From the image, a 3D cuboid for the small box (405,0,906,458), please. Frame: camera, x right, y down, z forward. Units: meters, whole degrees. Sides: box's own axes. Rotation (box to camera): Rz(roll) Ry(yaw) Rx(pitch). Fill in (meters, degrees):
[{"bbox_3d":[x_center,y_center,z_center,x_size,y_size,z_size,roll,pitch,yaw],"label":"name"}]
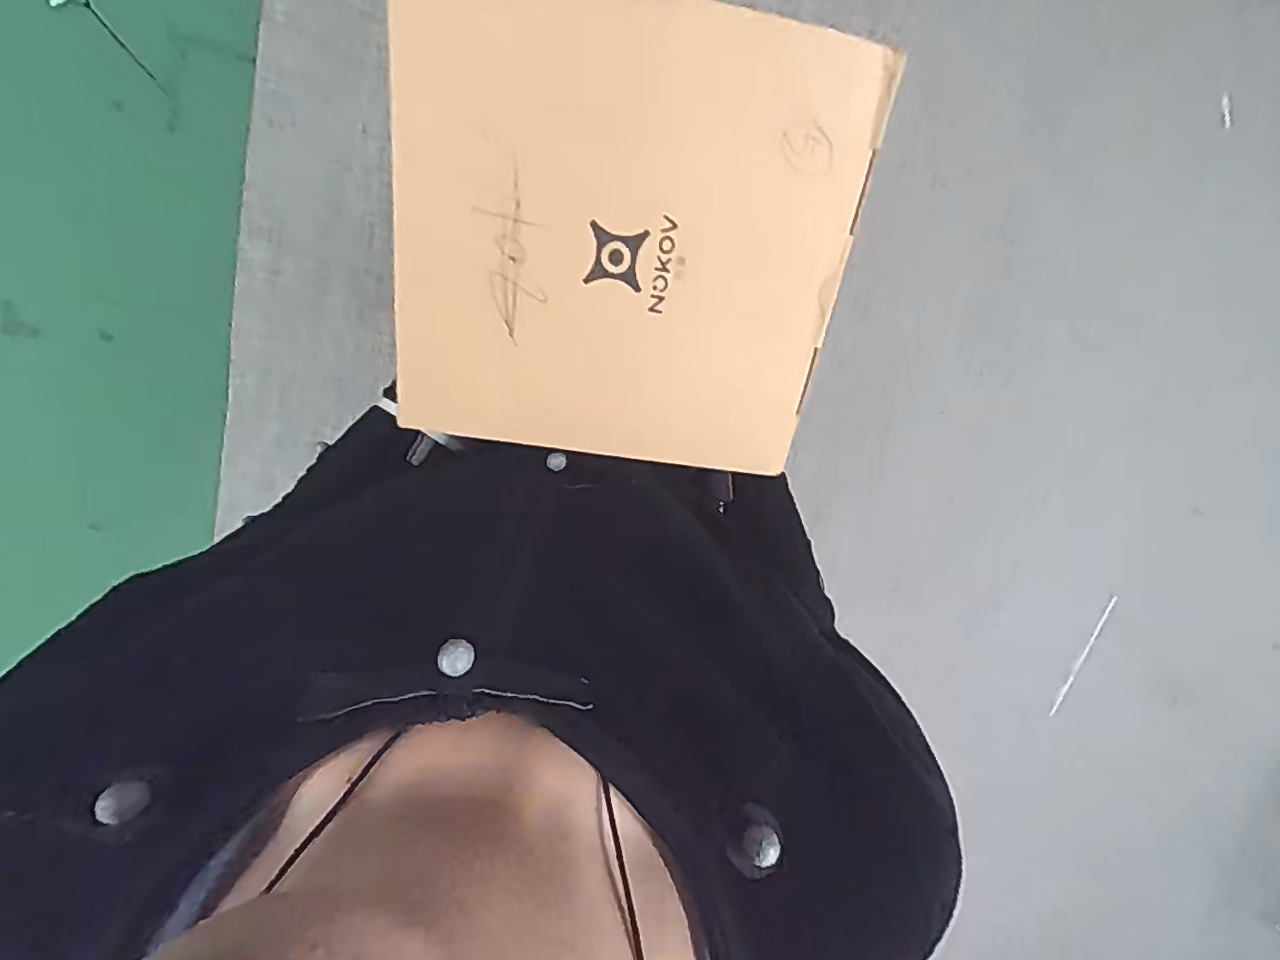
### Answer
[{"bbox_3d":[-0.007,-0.128,0.286,0.179,0.176,0.168,8,114,-6],"label":"small box"}]
